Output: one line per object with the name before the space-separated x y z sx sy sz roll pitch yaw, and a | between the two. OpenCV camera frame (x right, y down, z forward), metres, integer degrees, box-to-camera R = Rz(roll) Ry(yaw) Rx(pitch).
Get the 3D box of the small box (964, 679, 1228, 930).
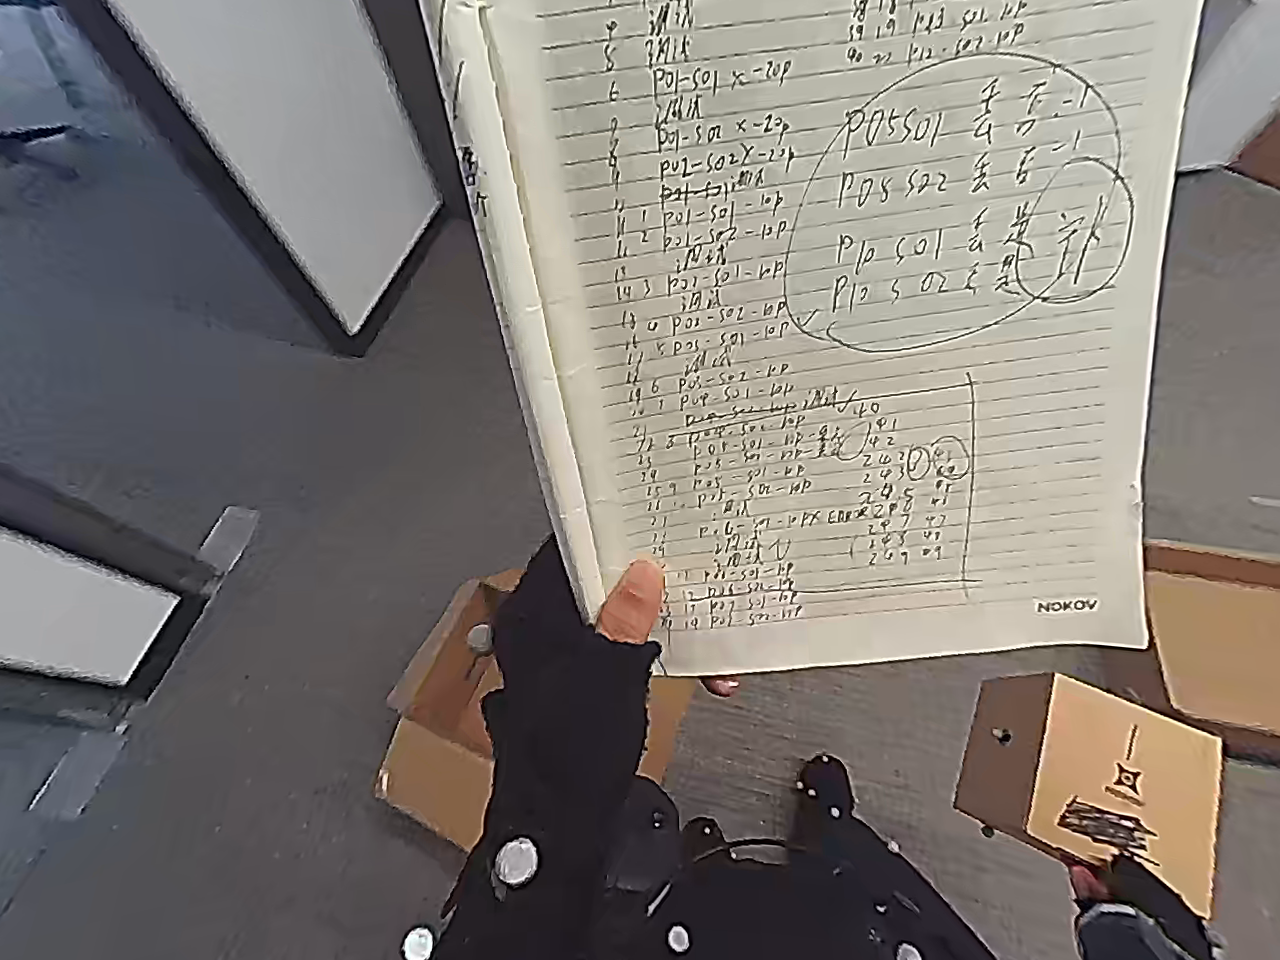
small box | 0.508 0.355 0.627 0.168 0.176 0.179 22 69 14
